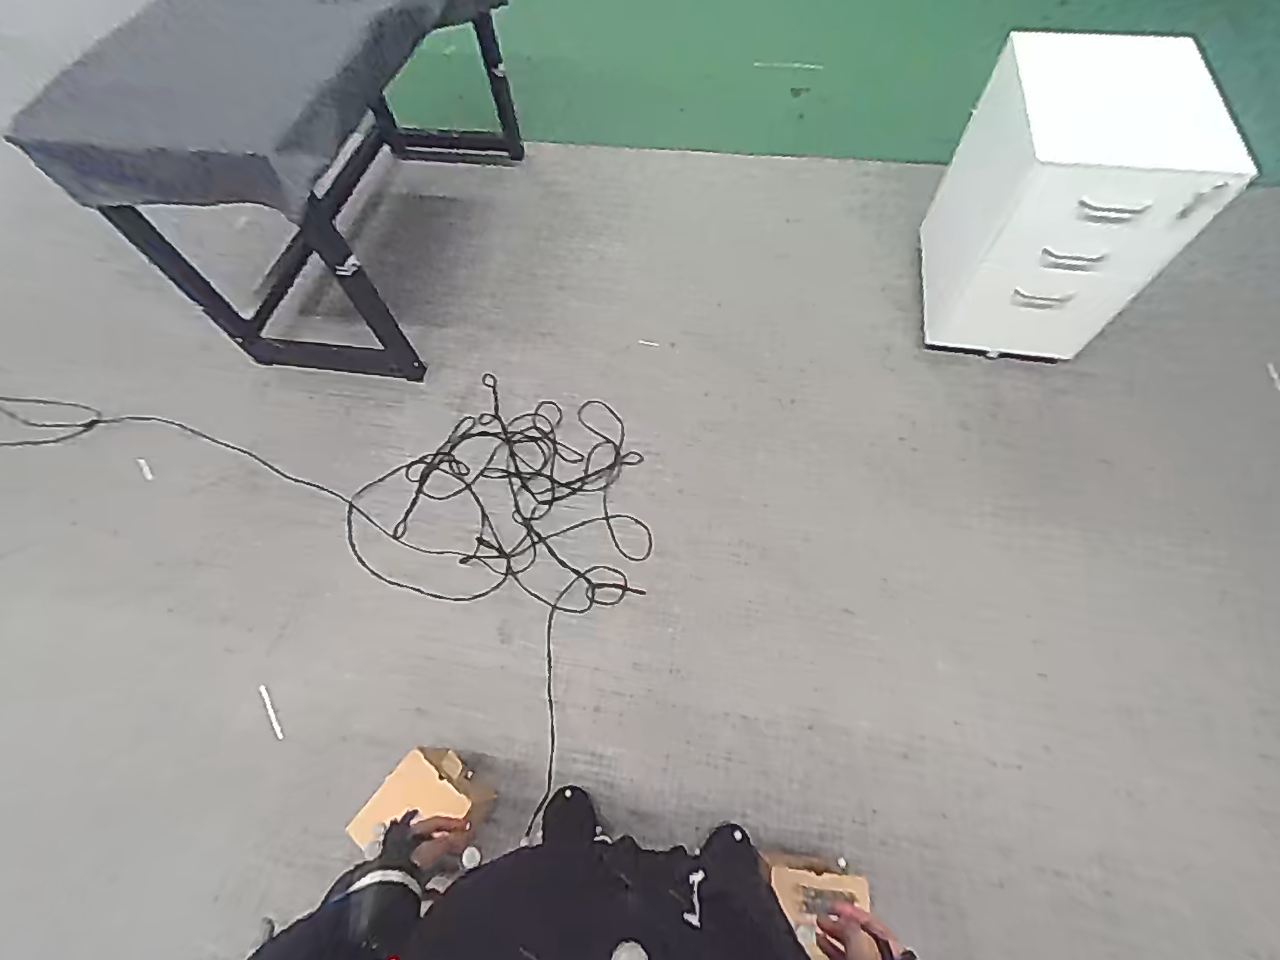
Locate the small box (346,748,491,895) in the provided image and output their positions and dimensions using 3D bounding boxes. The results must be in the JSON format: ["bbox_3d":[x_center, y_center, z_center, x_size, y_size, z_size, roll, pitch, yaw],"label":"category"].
[{"bbox_3d":[-0.424,0.662,1.069,0.168,0.176,0.179,32,68,18],"label":"small box"}]
